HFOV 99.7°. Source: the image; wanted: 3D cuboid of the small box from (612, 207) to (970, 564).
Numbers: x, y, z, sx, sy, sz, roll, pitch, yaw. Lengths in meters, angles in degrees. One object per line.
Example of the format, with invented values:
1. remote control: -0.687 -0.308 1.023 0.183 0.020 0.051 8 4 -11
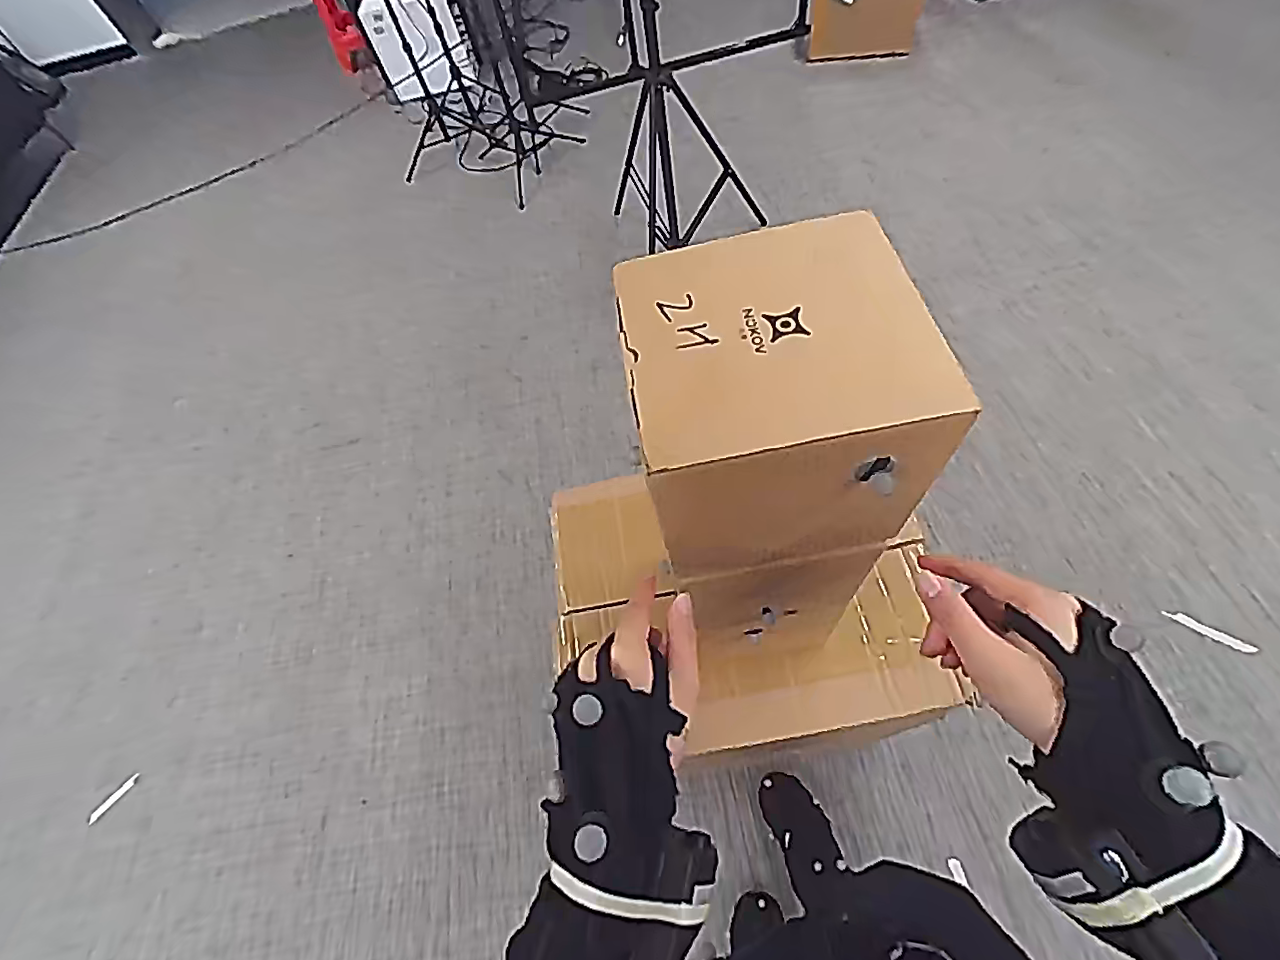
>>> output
1. small box: 0.086 -0.054 0.389 0.179 0.176 0.168 -11 60 4

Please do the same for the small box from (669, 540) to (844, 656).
1. small box: 0.130 0.109 0.671 0.179 0.176 0.168 -11 60 3
